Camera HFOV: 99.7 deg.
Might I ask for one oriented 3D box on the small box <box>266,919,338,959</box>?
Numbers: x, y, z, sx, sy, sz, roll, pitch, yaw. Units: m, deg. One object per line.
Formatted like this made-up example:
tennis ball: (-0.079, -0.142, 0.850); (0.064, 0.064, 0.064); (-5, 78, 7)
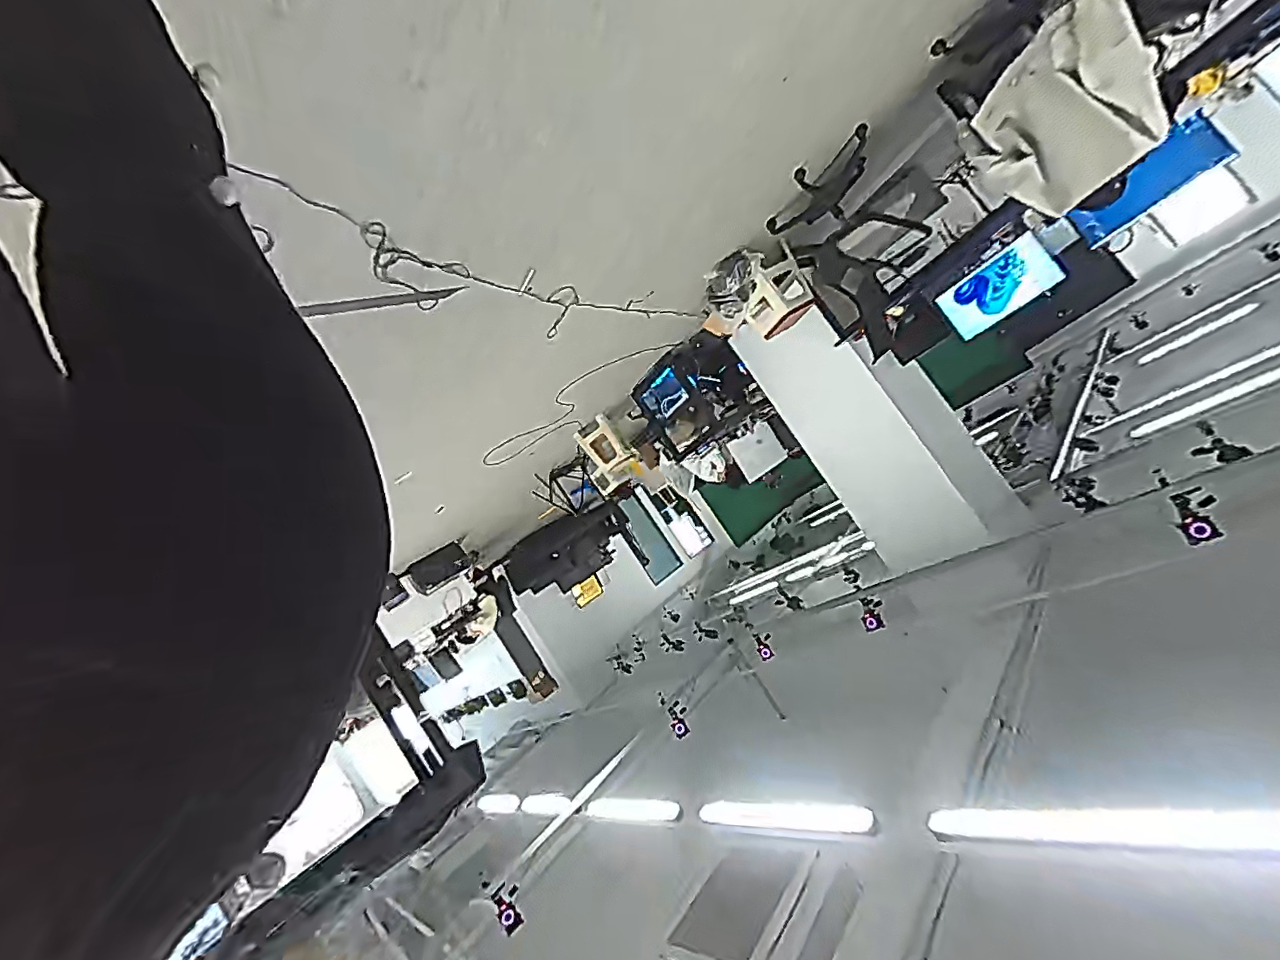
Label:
small box: (-0.965, 1.404, 1.534); (0.168, 0.176, 0.179); (-29, 175, -41)
